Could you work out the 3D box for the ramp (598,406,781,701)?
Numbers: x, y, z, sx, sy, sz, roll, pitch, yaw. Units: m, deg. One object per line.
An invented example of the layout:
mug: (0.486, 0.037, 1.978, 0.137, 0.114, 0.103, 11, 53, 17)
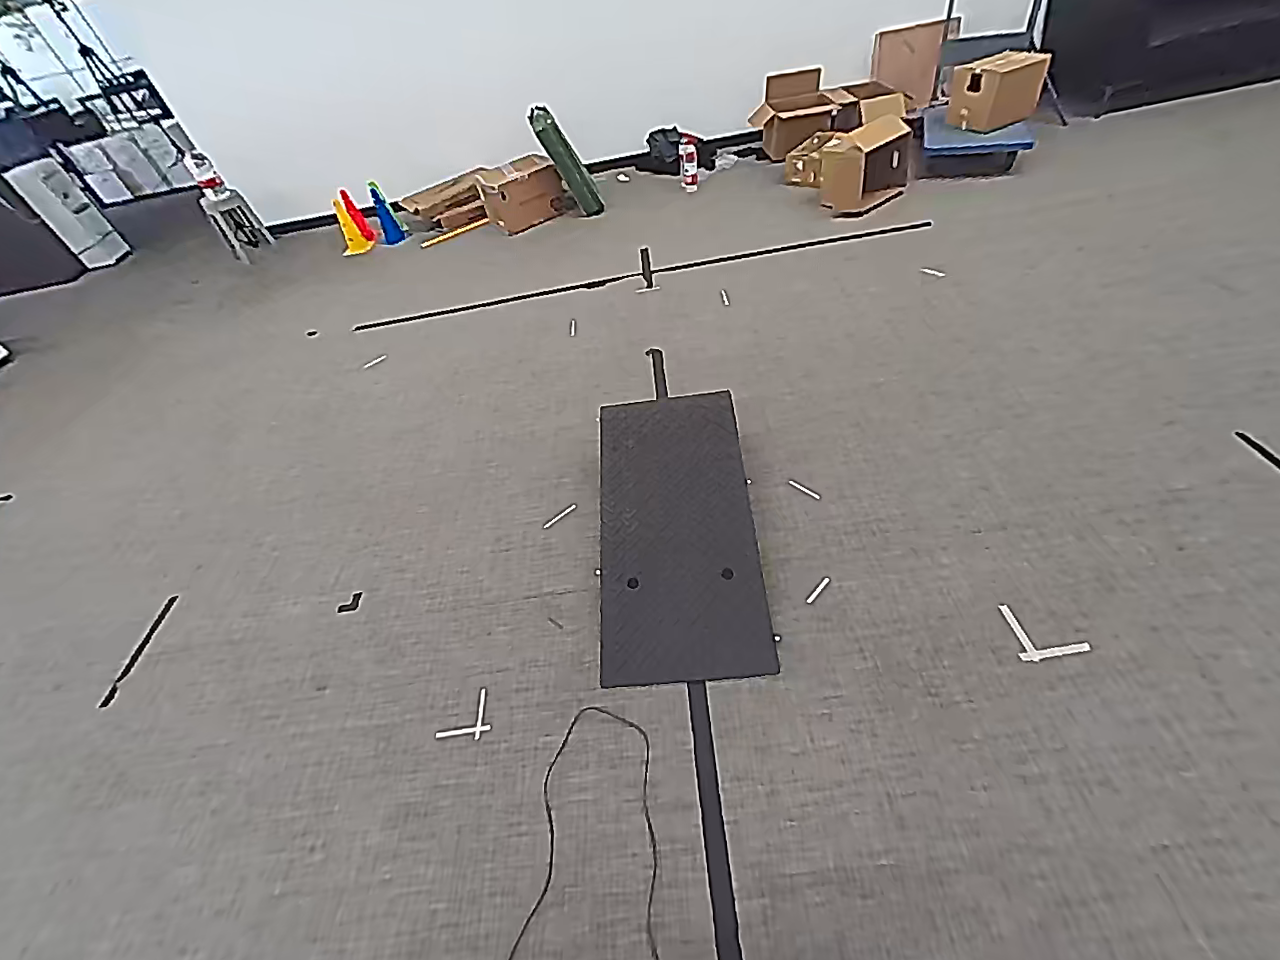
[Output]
ramp: (0.114, 0.169, 1.753, 0.509, 0.206, 0.991, -9, 45, 3)
